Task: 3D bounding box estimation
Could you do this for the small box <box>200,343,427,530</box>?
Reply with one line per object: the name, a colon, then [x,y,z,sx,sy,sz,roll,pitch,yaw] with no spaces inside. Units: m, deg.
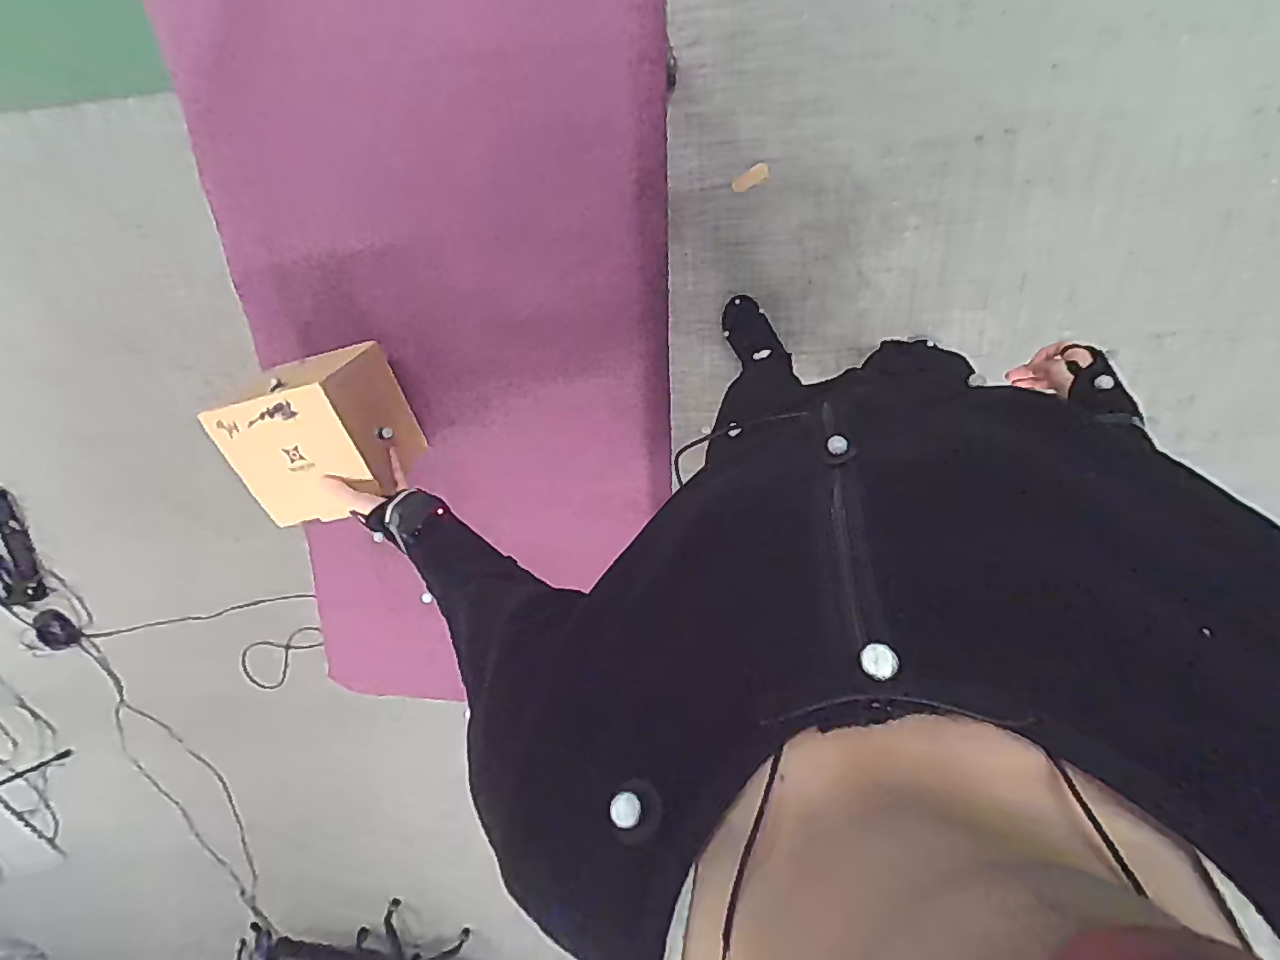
small box: [-0.420,-0.062,0.737,0.168,0.176,0.179,-13,122,7]
